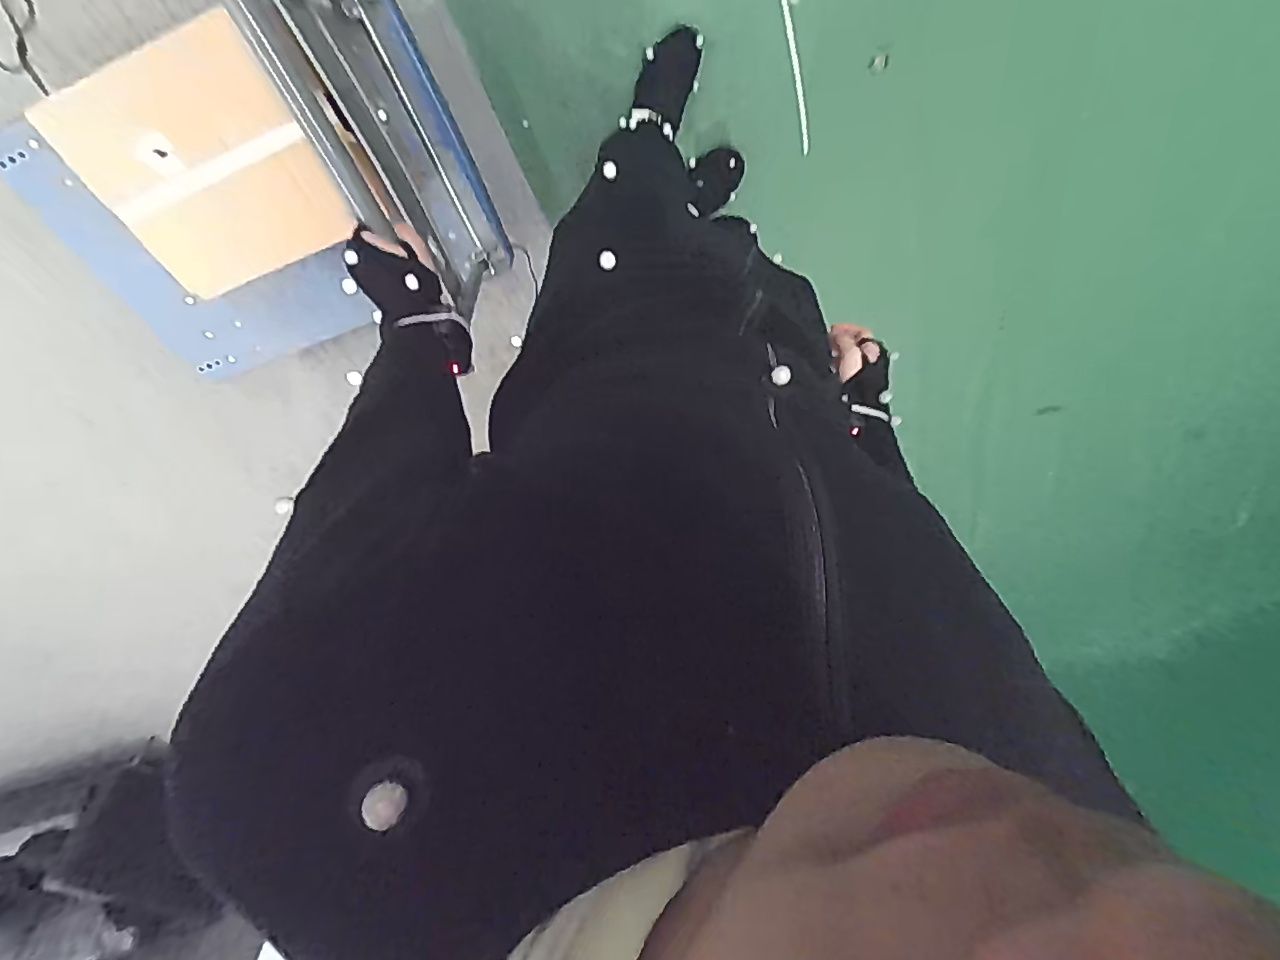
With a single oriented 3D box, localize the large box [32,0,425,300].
[{"bbox_3d":[-0.673,-0.590,0.970,0.408,0.320,0.320,-18,128,8],"label":"large box"}]
